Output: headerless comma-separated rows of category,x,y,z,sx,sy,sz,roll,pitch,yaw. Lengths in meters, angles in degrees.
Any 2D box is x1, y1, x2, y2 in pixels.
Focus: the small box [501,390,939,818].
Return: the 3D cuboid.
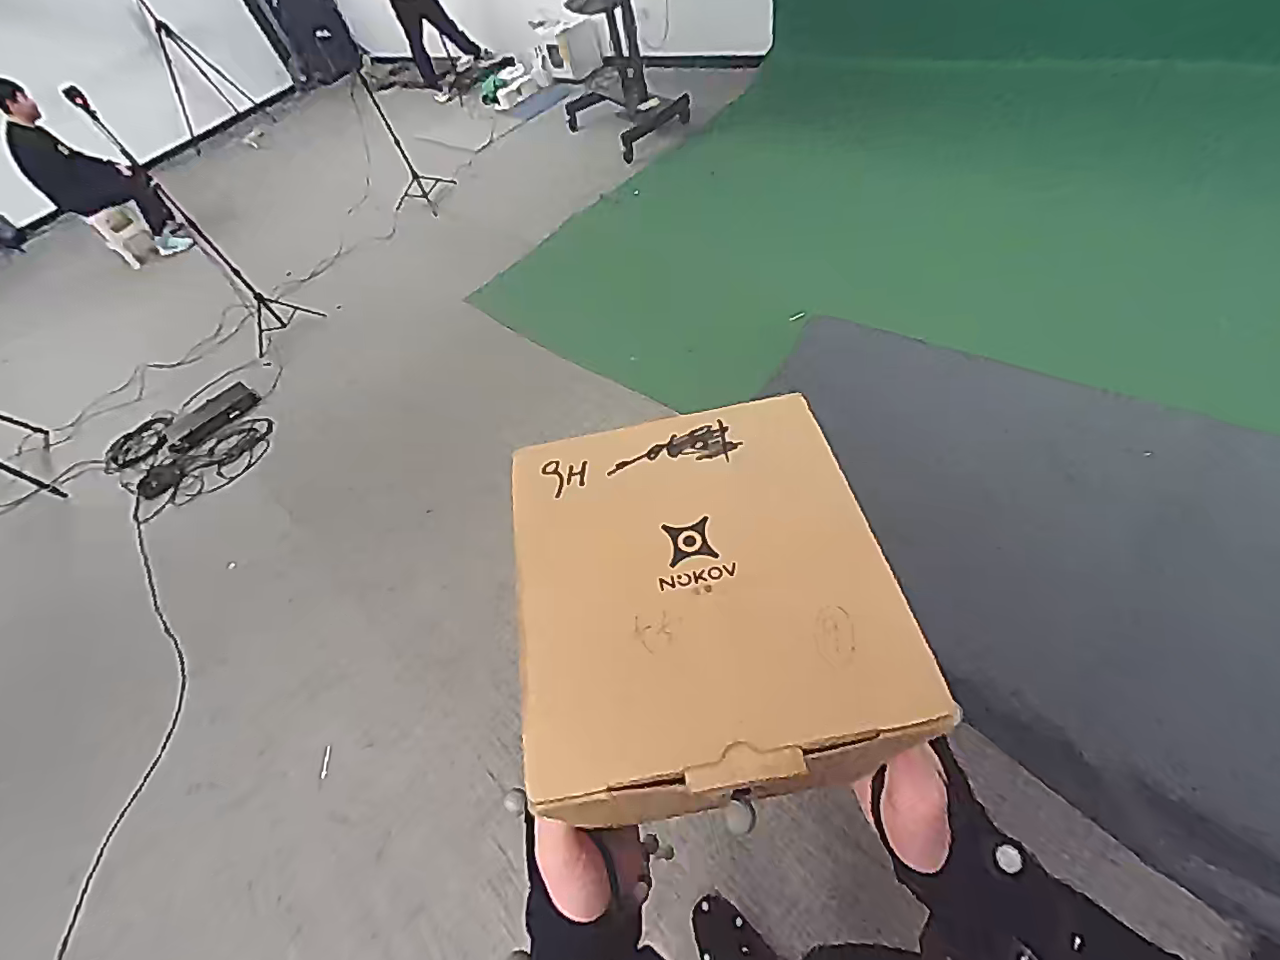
small box,0.026,0.079,0.308,0.168,0.176,0.179,-10,56,-1
